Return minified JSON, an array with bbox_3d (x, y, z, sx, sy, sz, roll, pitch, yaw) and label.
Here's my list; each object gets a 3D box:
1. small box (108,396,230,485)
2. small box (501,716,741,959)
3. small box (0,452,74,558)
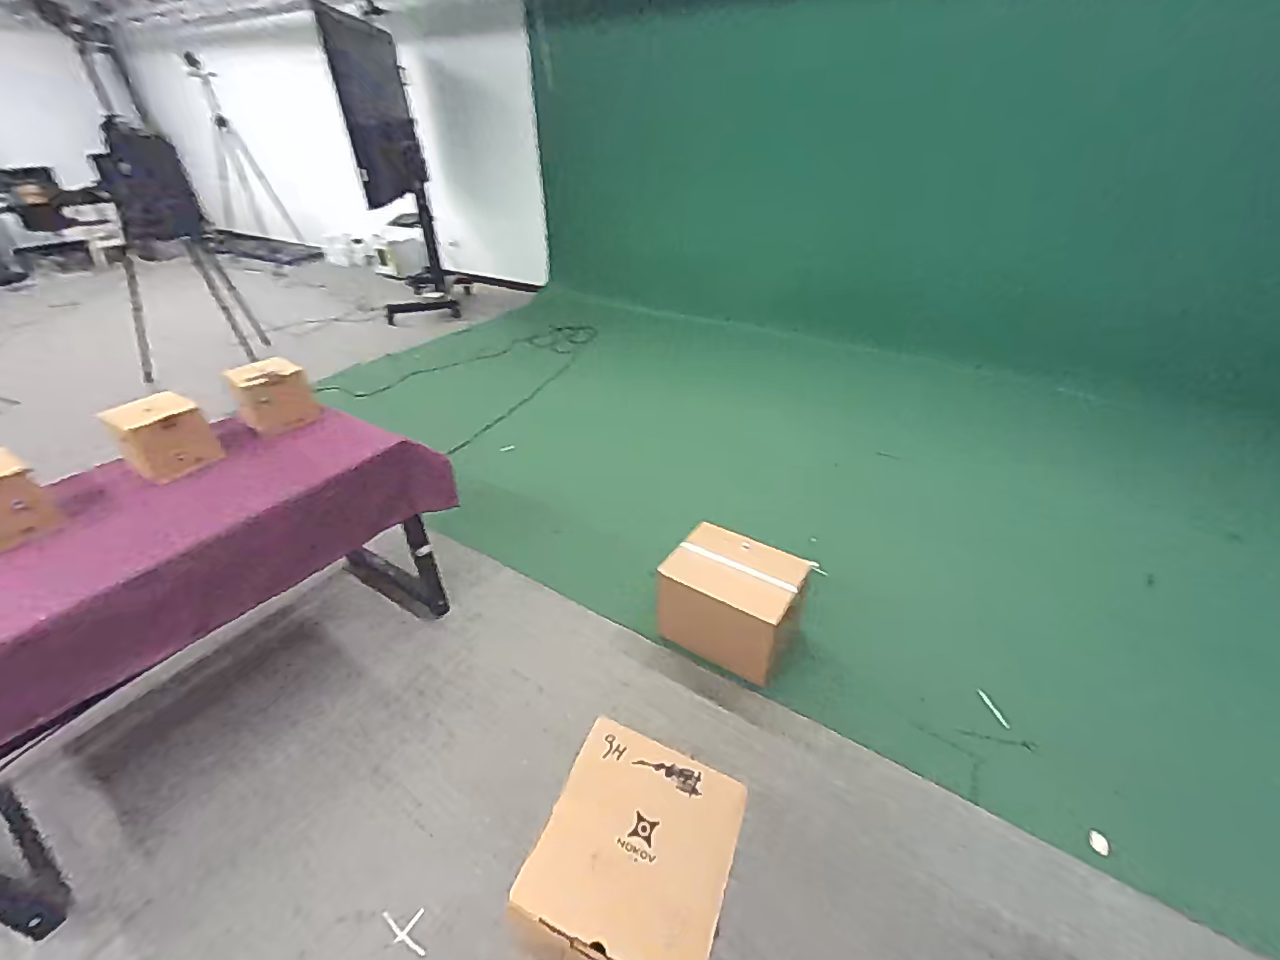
[{"bbox_3d":[-1.278,-0.106,1.476,0.179,0.176,0.168,19,39,26],"label":"small box"},{"bbox_3d":[-0.015,0.381,0.534,0.168,0.176,0.179,19,41,13],"label":"small box"},{"bbox_3d":[-1.461,0.065,1.233,0.179,0.176,0.168,20,39,28],"label":"small box"}]
